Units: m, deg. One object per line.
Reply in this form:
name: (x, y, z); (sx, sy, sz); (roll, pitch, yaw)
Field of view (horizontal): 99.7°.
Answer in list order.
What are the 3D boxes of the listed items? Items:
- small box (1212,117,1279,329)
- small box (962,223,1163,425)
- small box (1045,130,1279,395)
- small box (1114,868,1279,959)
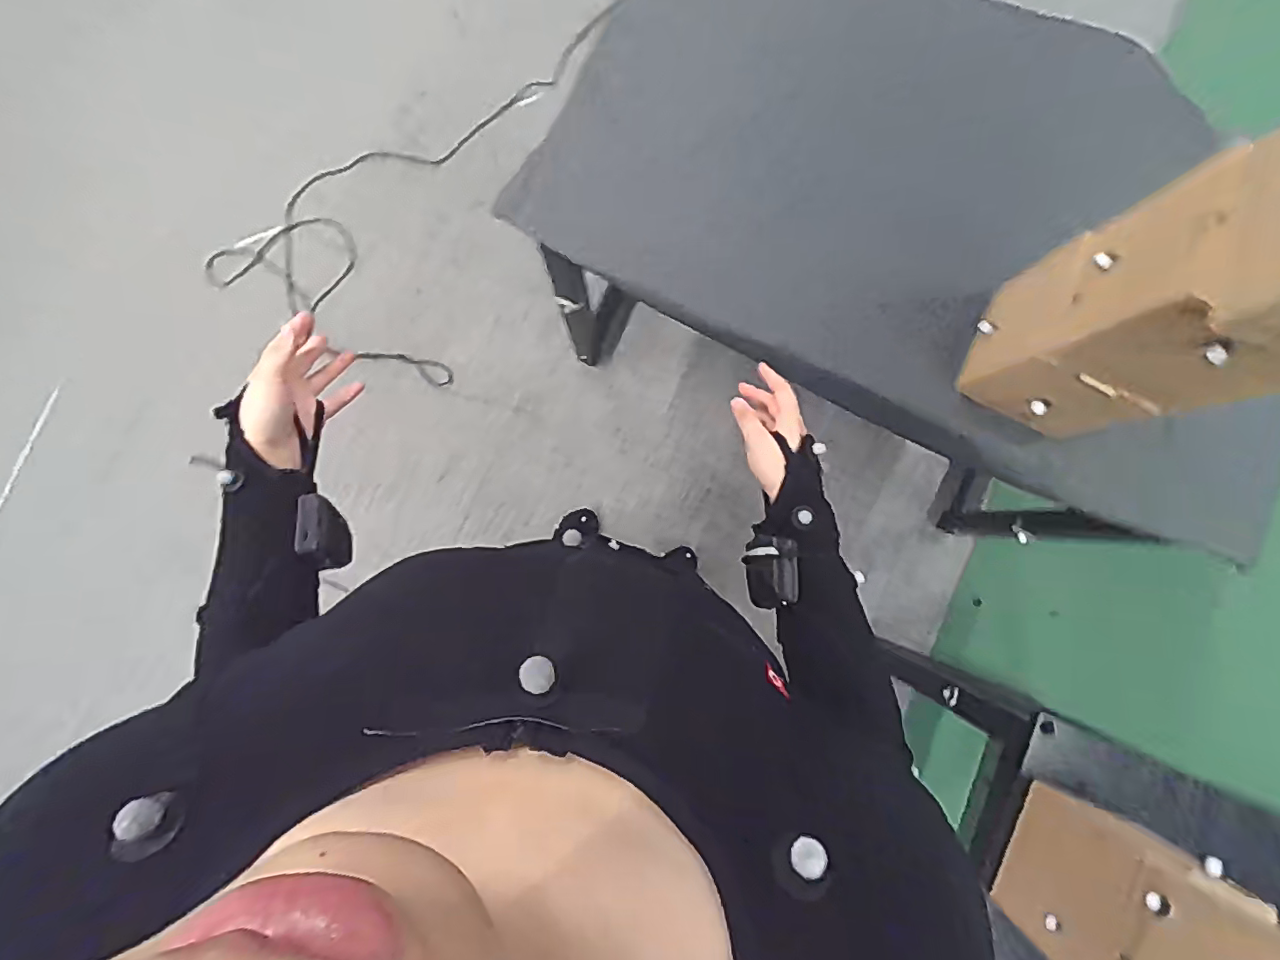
small box: (0.588, -0.207, 0.393); (0.168, 0.176, 0.179); (16, 84, 1)
small box: (0.571, -0.192, 0.721); (0.168, 0.176, 0.179); (26, 85, 2)
small box: (0.582, -0.203, 0.559); (0.179, 0.176, 0.168); (24, 85, 2)
small box: (0.604, 0.516, 0.508); (0.179, 0.176, 0.168); (25, 87, 1)
